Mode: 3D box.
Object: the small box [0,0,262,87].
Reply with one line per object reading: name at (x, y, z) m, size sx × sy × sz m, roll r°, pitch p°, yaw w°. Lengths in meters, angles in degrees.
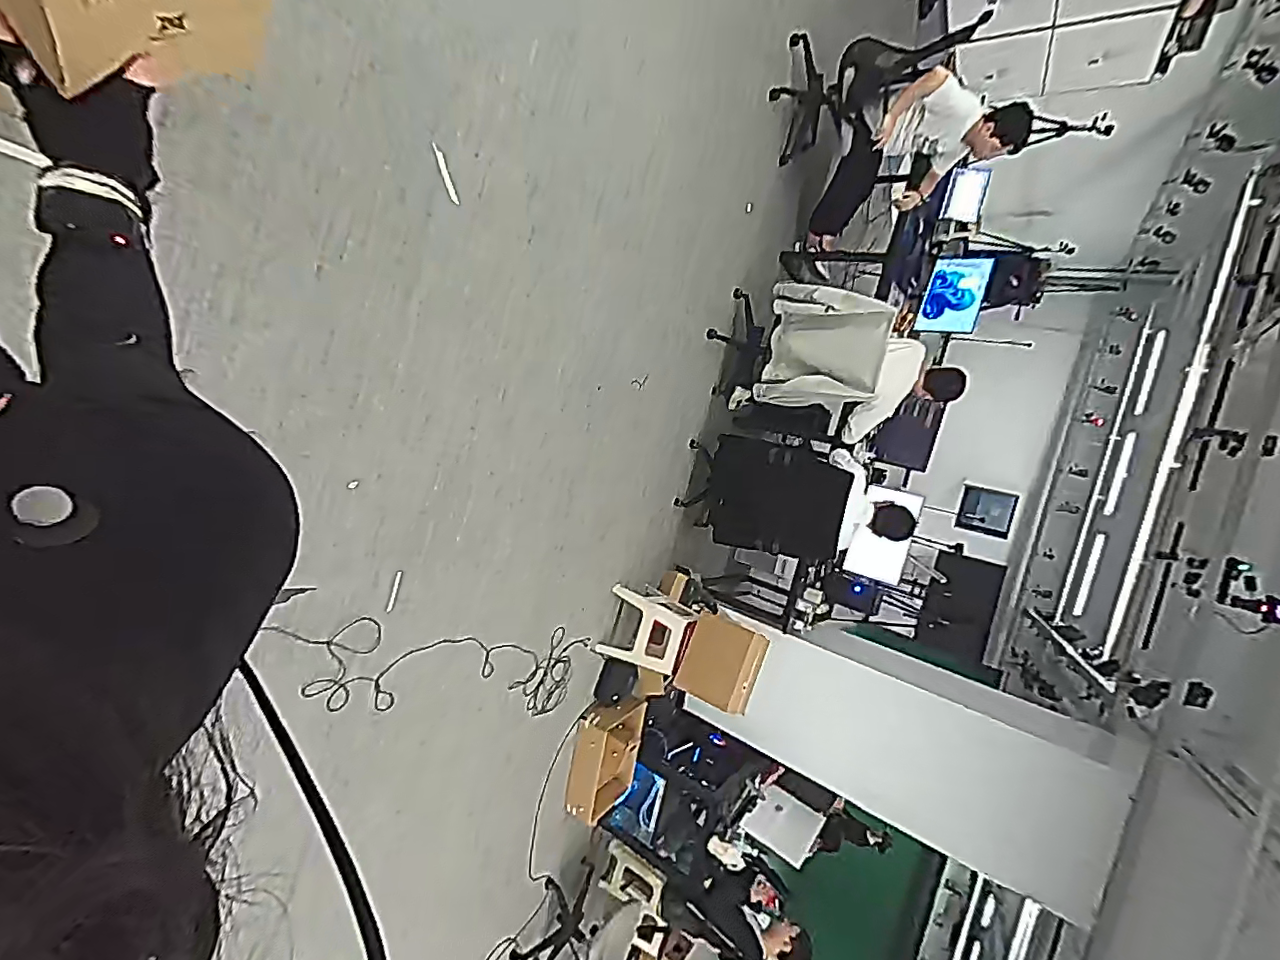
small box at (-0.424, -0.444, 0.405) m, size 0.168 × 0.179 × 0.176 m, roll -45°, pitch 120°, yaw -32°
